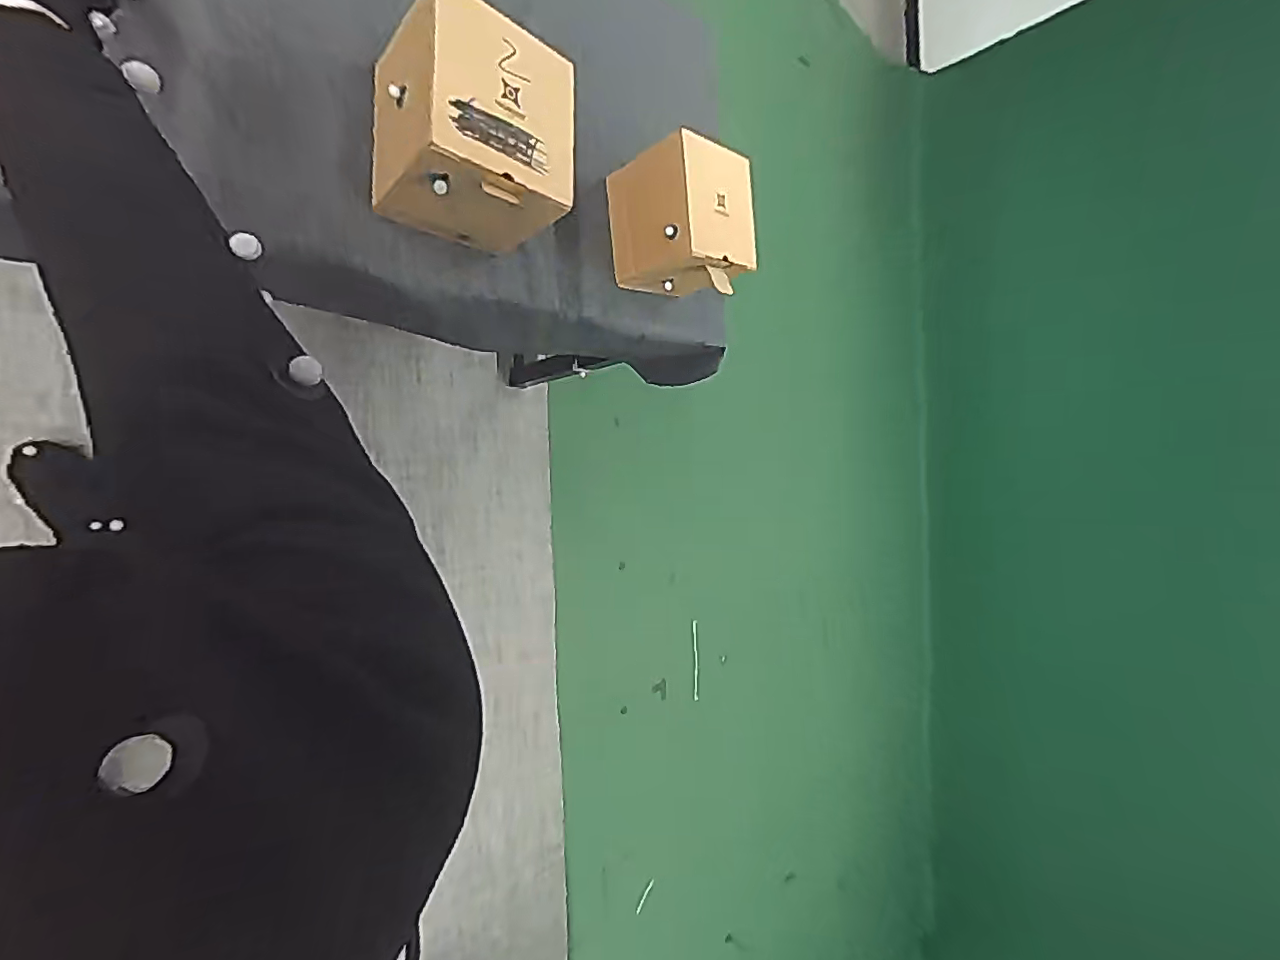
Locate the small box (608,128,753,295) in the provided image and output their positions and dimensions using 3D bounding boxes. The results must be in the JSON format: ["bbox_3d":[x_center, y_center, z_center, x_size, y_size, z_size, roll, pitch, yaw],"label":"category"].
[{"bbox_3d":[0.063,-0.417,0.875,0.168,0.176,0.179,-10,97,-44],"label":"small box"}]
